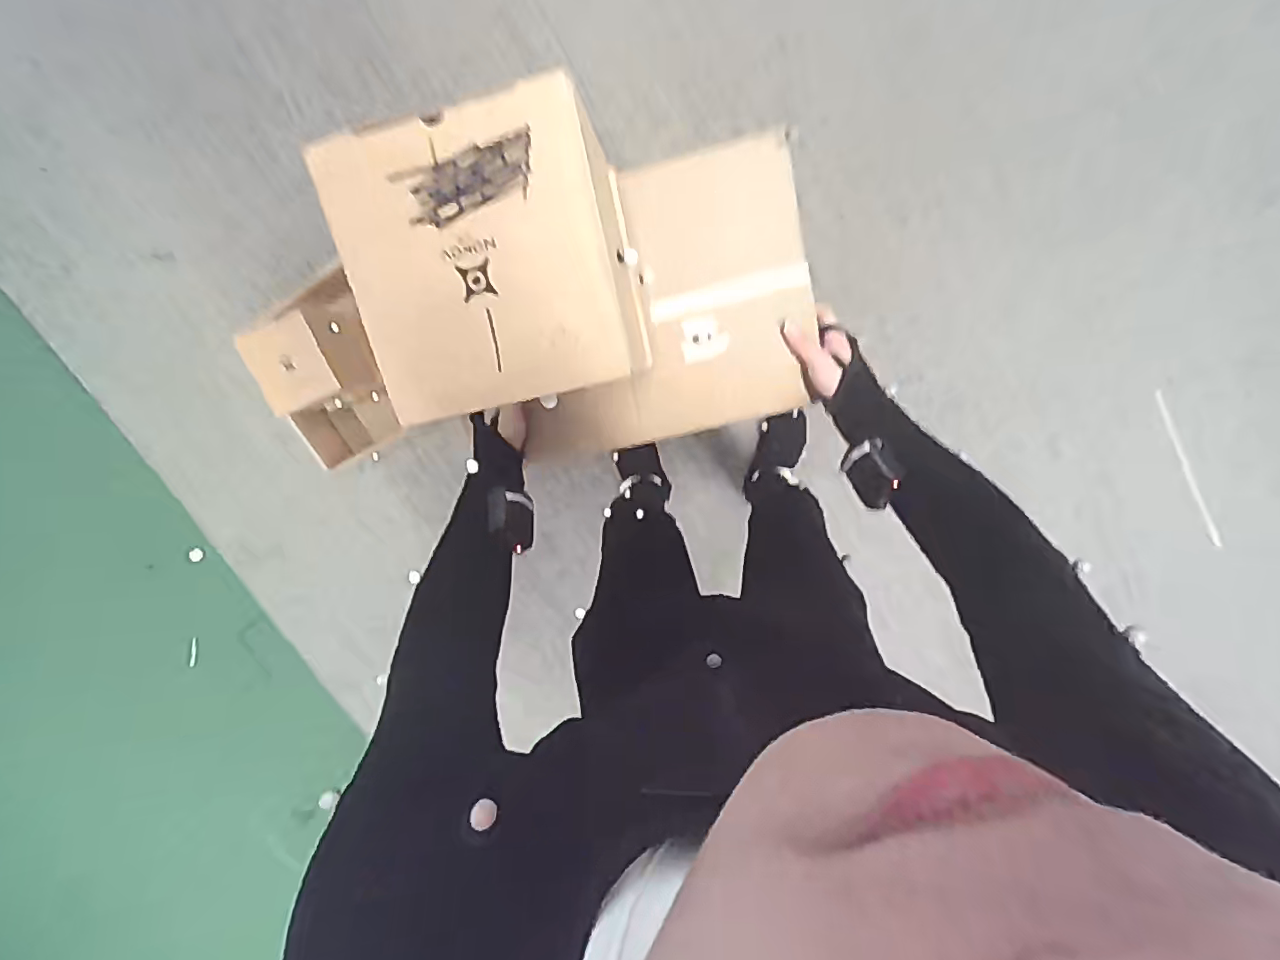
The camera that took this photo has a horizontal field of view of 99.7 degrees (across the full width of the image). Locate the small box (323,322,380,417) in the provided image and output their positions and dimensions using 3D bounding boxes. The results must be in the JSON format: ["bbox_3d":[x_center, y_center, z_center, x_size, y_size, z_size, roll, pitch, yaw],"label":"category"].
[{"bbox_3d":[-0.722,-0.278,1.361,0.168,0.176,0.179,-25,103,7],"label":"small box"}]

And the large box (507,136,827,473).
[{"bbox_3d":[0.011,-0.231,0.800,0.408,0.320,0.320,-13,104,6],"label":"large box"}]

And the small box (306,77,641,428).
[{"bbox_3d":[-0.097,-0.148,0.405,0.168,0.176,0.179,-11,104,6],"label":"small box"}]

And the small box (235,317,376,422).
[{"bbox_3d":[-0.730,-0.245,1.201,0.168,0.176,0.179,-21,102,7],"label":"small box"}]
